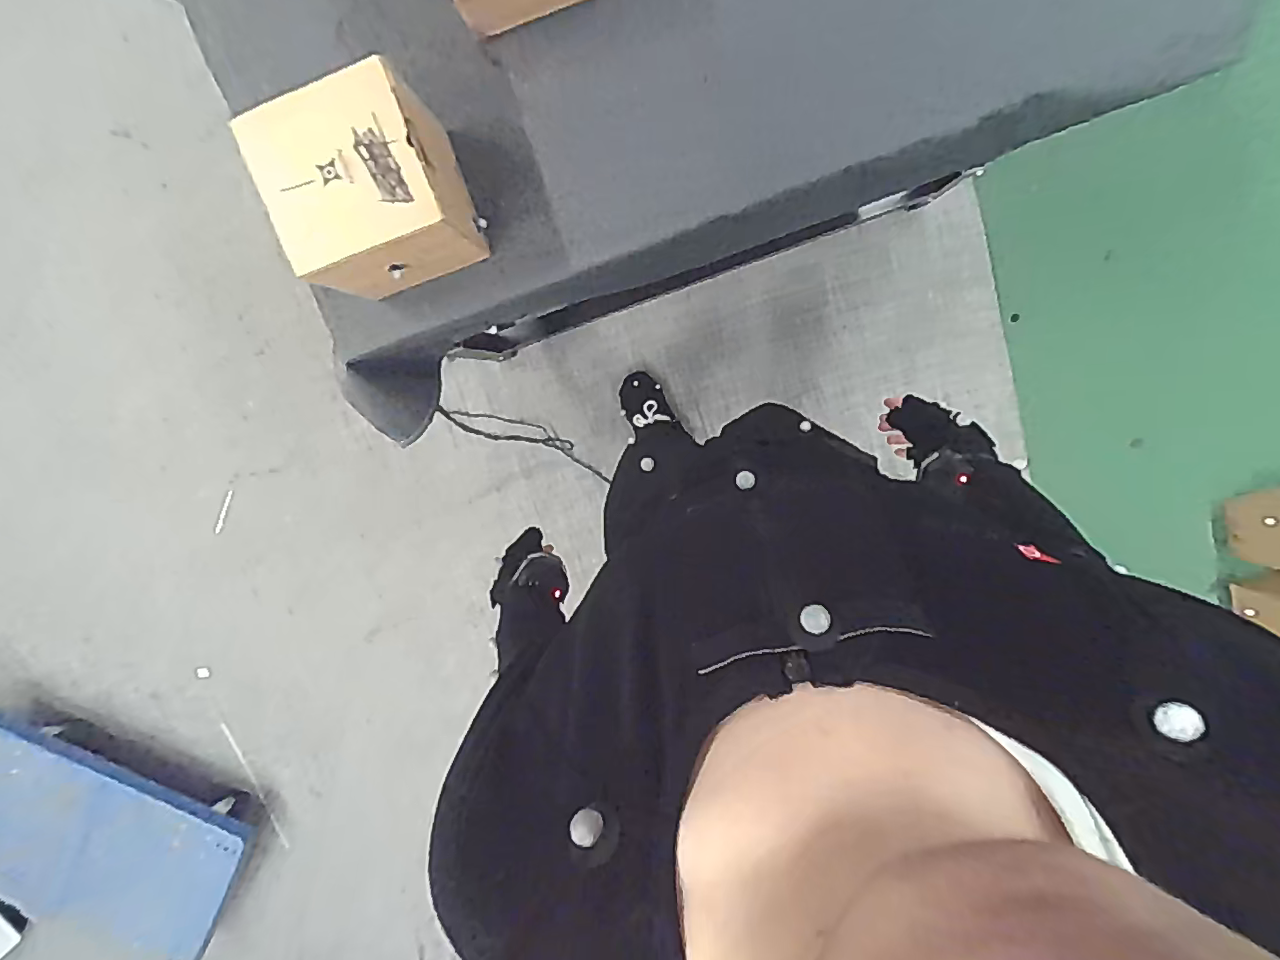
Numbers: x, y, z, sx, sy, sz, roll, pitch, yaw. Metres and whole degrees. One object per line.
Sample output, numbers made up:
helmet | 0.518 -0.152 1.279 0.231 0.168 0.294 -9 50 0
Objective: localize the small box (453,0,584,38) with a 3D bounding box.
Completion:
small box | -0.149 -0.630 0.575 0.179 0.176 0.168 -17 100 5

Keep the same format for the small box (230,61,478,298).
small box | -0.310 -0.330 0.635 0.179 0.176 0.168 -19 99 5

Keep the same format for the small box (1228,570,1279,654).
small box | 1.743 0.352 1.437 0.179 0.176 0.168 -18 100 6
